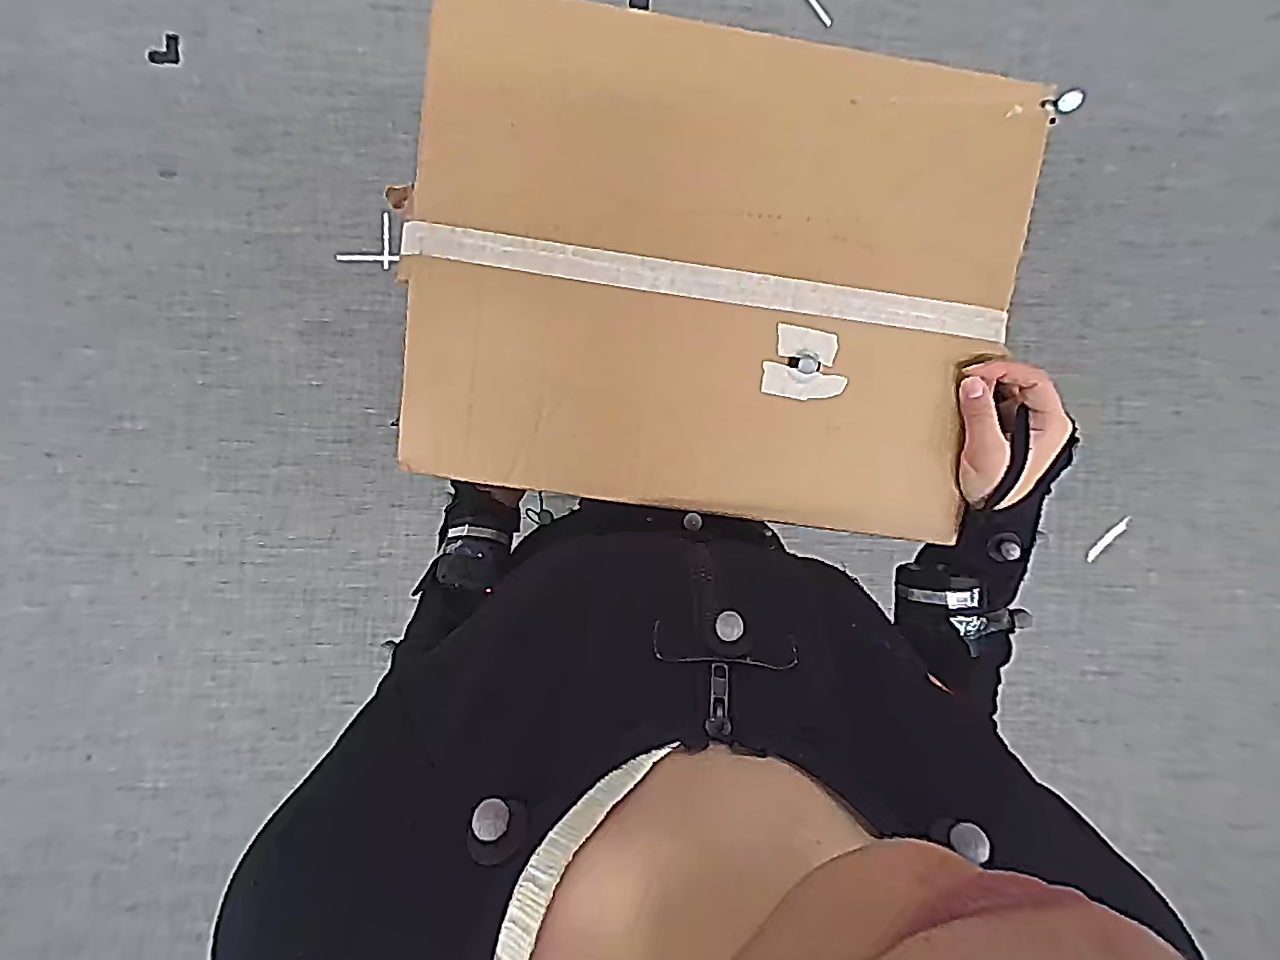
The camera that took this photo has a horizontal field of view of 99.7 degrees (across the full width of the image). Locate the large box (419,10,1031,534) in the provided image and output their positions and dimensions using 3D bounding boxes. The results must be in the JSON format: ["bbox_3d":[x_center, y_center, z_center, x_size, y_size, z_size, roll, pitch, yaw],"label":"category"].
[{"bbox_3d":[0.046,-0.149,0.522,0.408,0.320,0.320,7,98,-4],"label":"large box"}]
